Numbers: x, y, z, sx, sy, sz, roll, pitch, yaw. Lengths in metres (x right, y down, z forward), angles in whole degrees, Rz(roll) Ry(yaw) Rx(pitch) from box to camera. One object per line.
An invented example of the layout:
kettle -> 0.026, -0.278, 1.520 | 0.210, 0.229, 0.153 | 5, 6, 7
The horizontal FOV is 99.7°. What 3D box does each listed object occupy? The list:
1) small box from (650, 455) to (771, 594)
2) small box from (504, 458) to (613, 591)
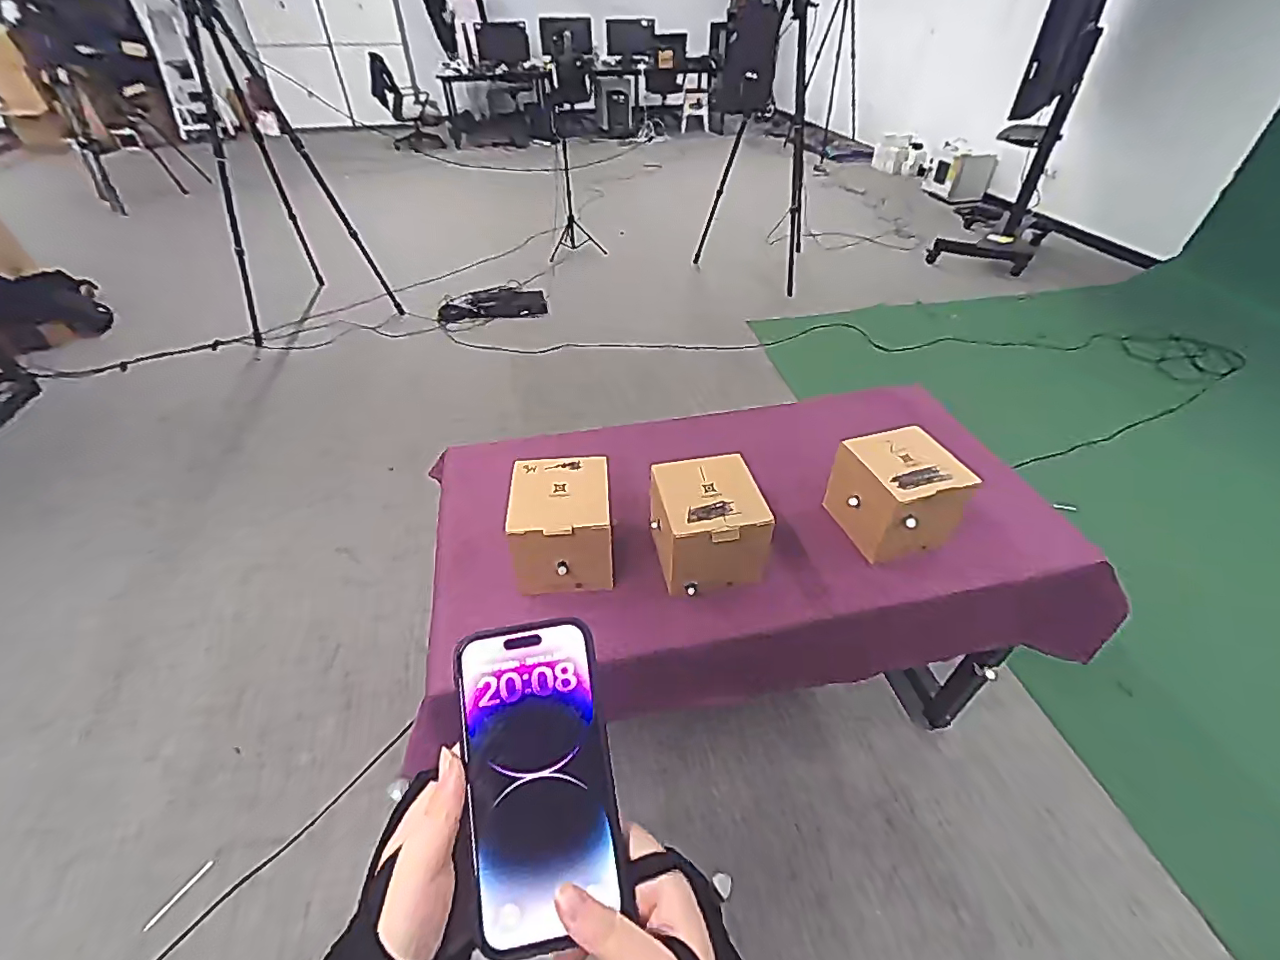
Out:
small box -> 0.115, 0.083, 0.952 | 0.168, 0.176, 0.179 | -8, 42, -8
small box -> -0.135, 0.084, 0.956 | 0.168, 0.176, 0.179 | -3, 43, -3
